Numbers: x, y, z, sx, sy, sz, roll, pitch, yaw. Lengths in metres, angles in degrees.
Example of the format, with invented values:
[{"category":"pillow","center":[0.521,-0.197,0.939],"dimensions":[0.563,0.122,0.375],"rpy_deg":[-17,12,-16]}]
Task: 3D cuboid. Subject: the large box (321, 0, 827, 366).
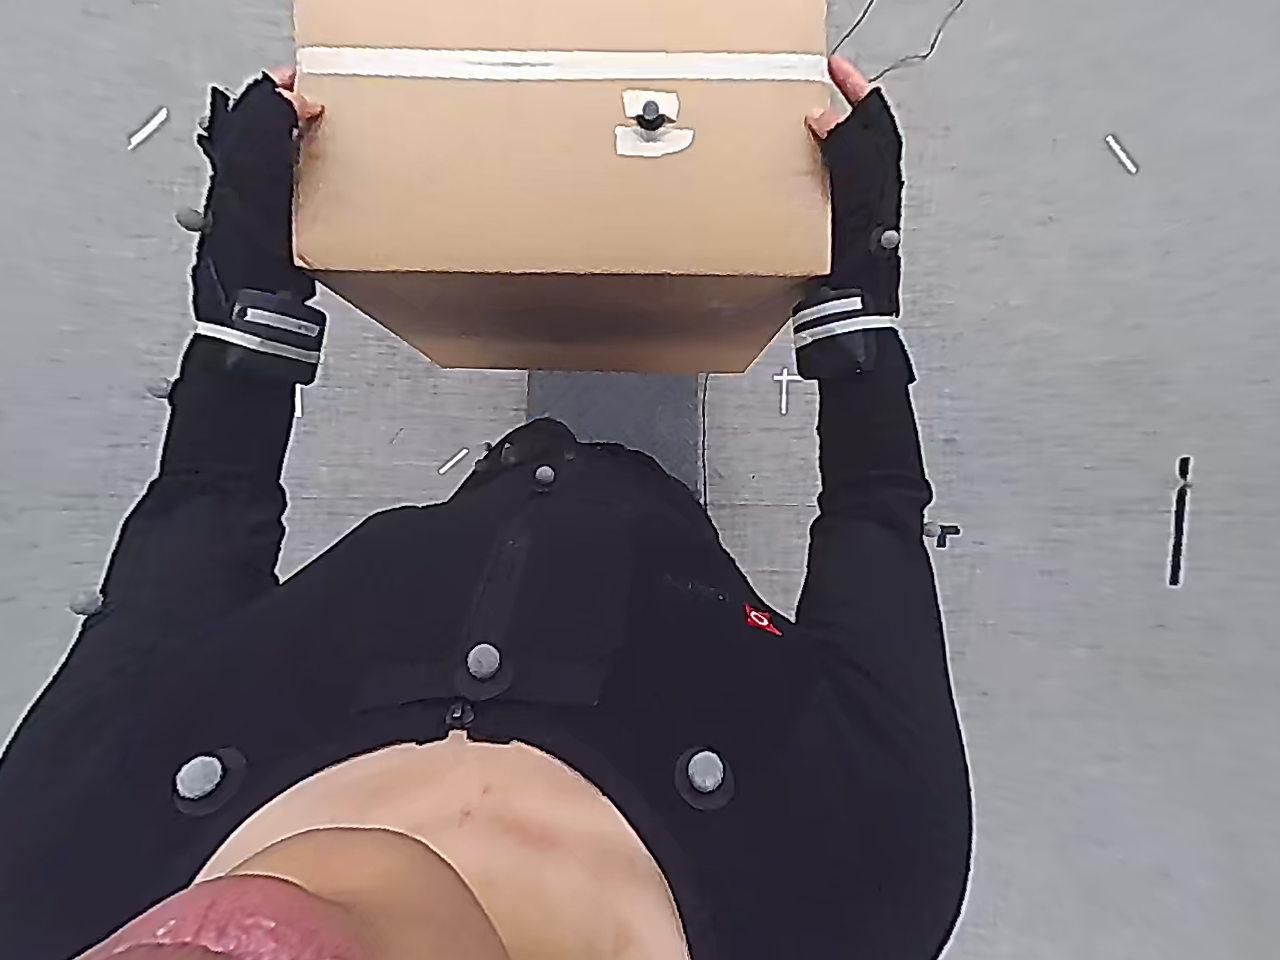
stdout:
[{"category":"large box","center":[-0.055,-0.313,0.579],"dimensions":[0.408,0.320,0.320],"rpy_deg":[0,88,-1]}]
